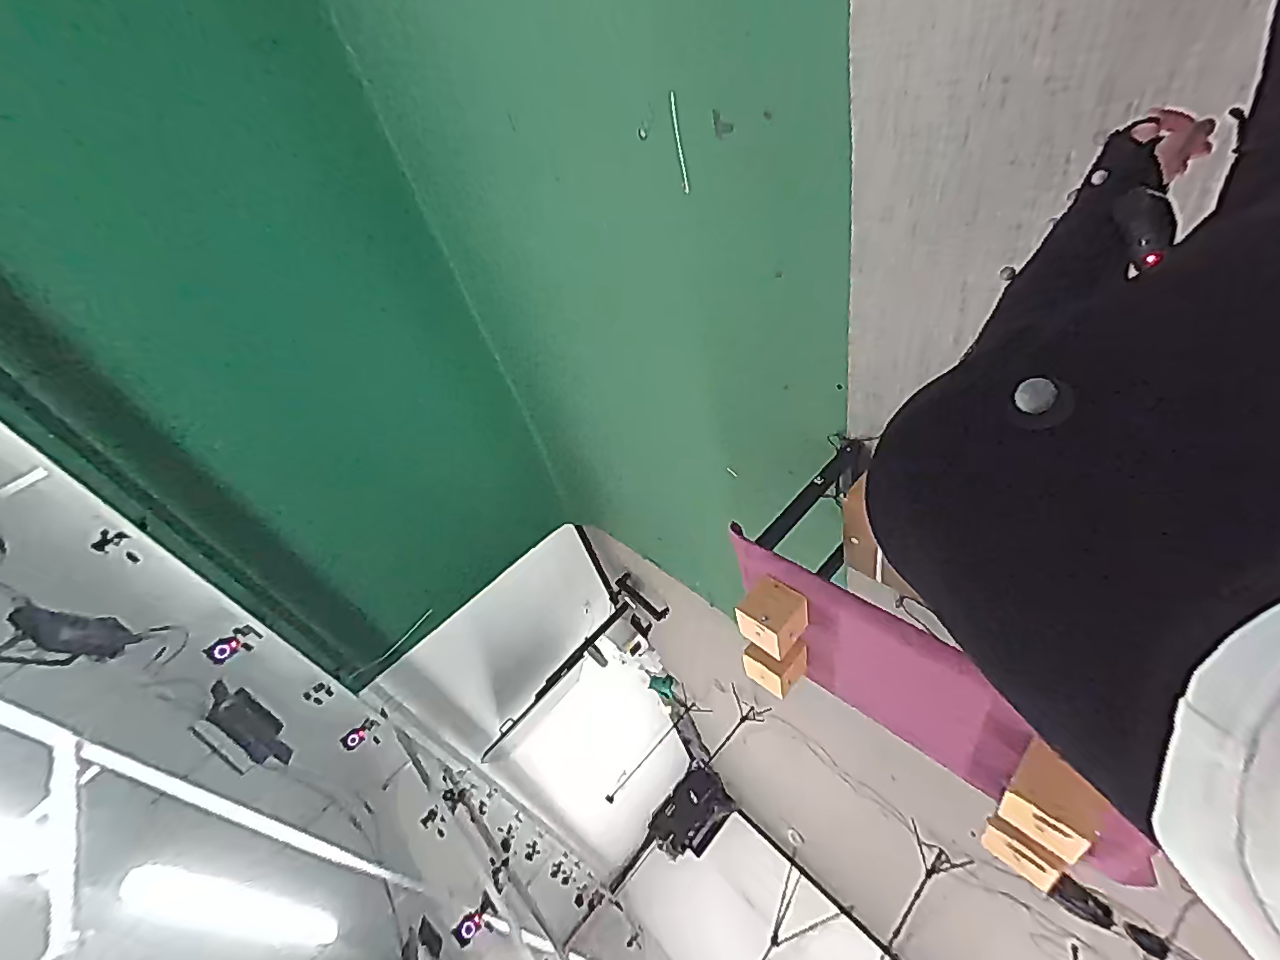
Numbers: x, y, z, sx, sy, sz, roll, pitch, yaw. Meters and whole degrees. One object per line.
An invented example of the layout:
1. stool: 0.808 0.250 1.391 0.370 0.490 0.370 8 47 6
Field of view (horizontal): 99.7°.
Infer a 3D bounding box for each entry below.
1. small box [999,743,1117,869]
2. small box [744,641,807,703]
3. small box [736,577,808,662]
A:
1. small box: 0.997 0.770 1.292 0.168 0.176 0.179 27 149 43
2. small box: 0.507 0.680 2.009 0.168 0.176 0.179 26 146 38
3. small box: 0.444 0.459 1.794 0.168 0.176 0.179 27 150 38
